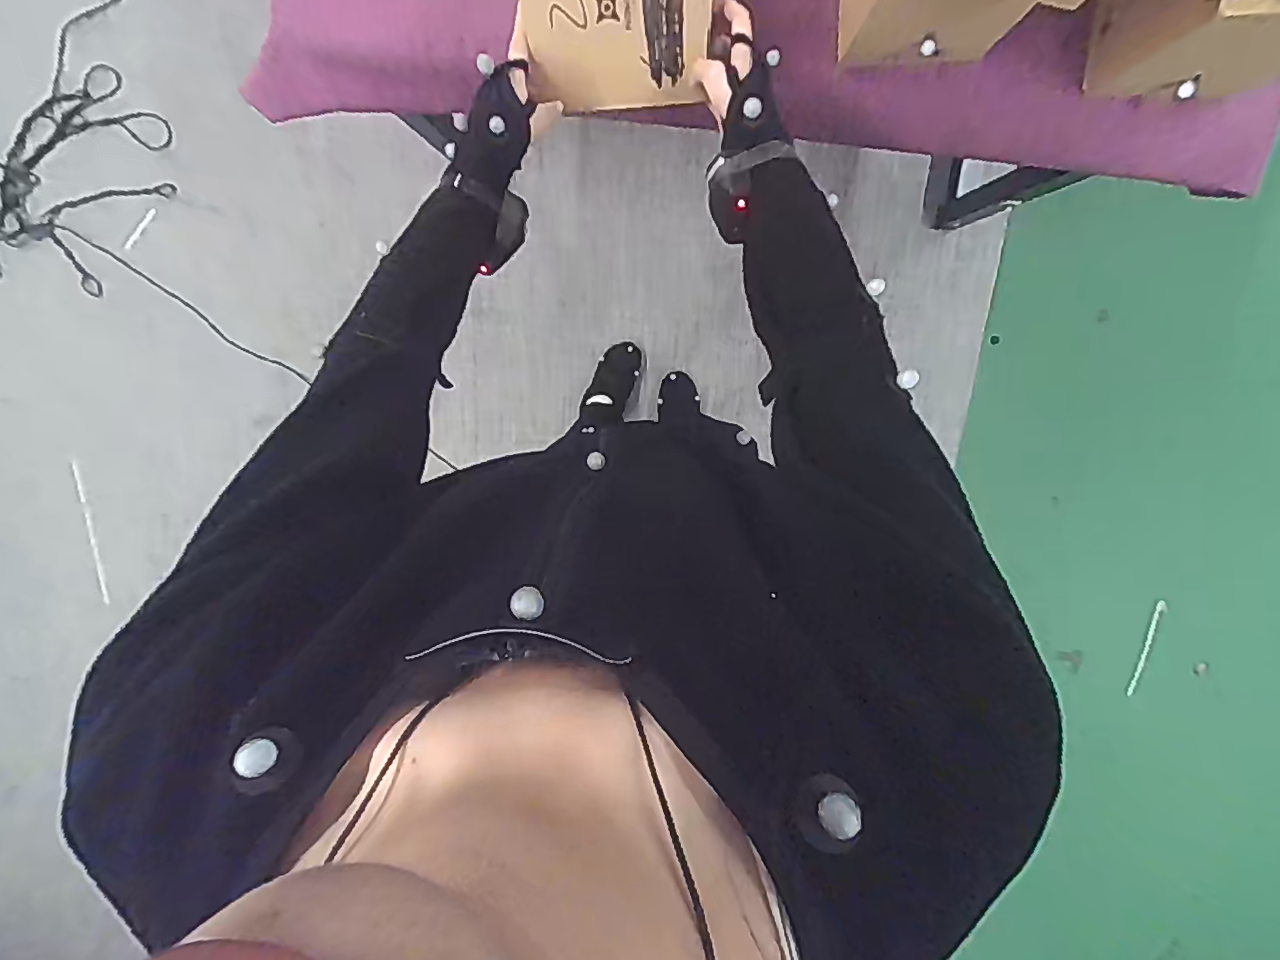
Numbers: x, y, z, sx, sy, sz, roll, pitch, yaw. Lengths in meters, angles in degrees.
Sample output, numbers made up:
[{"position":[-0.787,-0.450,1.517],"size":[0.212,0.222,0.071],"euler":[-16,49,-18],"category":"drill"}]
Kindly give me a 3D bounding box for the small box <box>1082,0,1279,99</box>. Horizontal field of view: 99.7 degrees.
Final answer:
[{"position":[0.602,-0.506,0.536],"size":[0.179,0.176,0.168],"euler":[1,104,3],"category":"small box"}]

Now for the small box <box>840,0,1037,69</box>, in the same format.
[{"position":[0.308,-0.554,0.538],"size":[0.168,0.176,0.179],"euler":[-1,103,4],"category":"small box"}]
